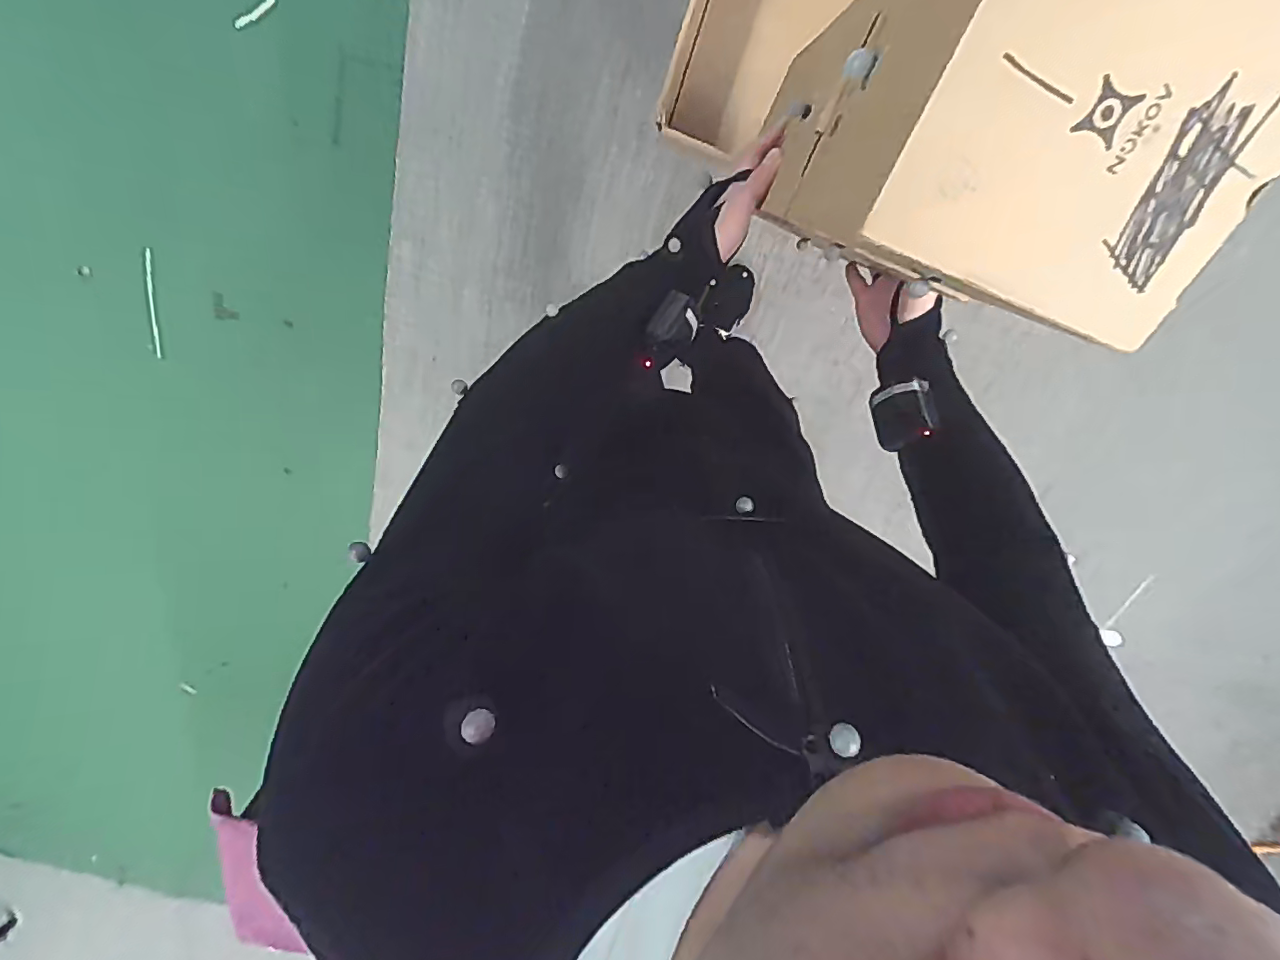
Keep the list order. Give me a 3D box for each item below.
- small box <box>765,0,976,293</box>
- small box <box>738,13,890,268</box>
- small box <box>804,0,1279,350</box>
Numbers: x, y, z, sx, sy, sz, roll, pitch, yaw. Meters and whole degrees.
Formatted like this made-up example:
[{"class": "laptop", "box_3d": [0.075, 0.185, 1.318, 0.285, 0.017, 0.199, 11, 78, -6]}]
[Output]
[{"class": "small box", "box_3d": [0.226, -0.282, 0.459, 0.179, 0.176, 0.168, 20, 118, -9]}, {"class": "small box", "box_3d": [0.228, -0.361, 0.603, 0.179, 0.176, 0.168, 21, 117, -11]}, {"class": "small box", "box_3d": [0.225, -0.202, 0.315, 0.179, 0.176, 0.168, 18, 118, -8]}]
